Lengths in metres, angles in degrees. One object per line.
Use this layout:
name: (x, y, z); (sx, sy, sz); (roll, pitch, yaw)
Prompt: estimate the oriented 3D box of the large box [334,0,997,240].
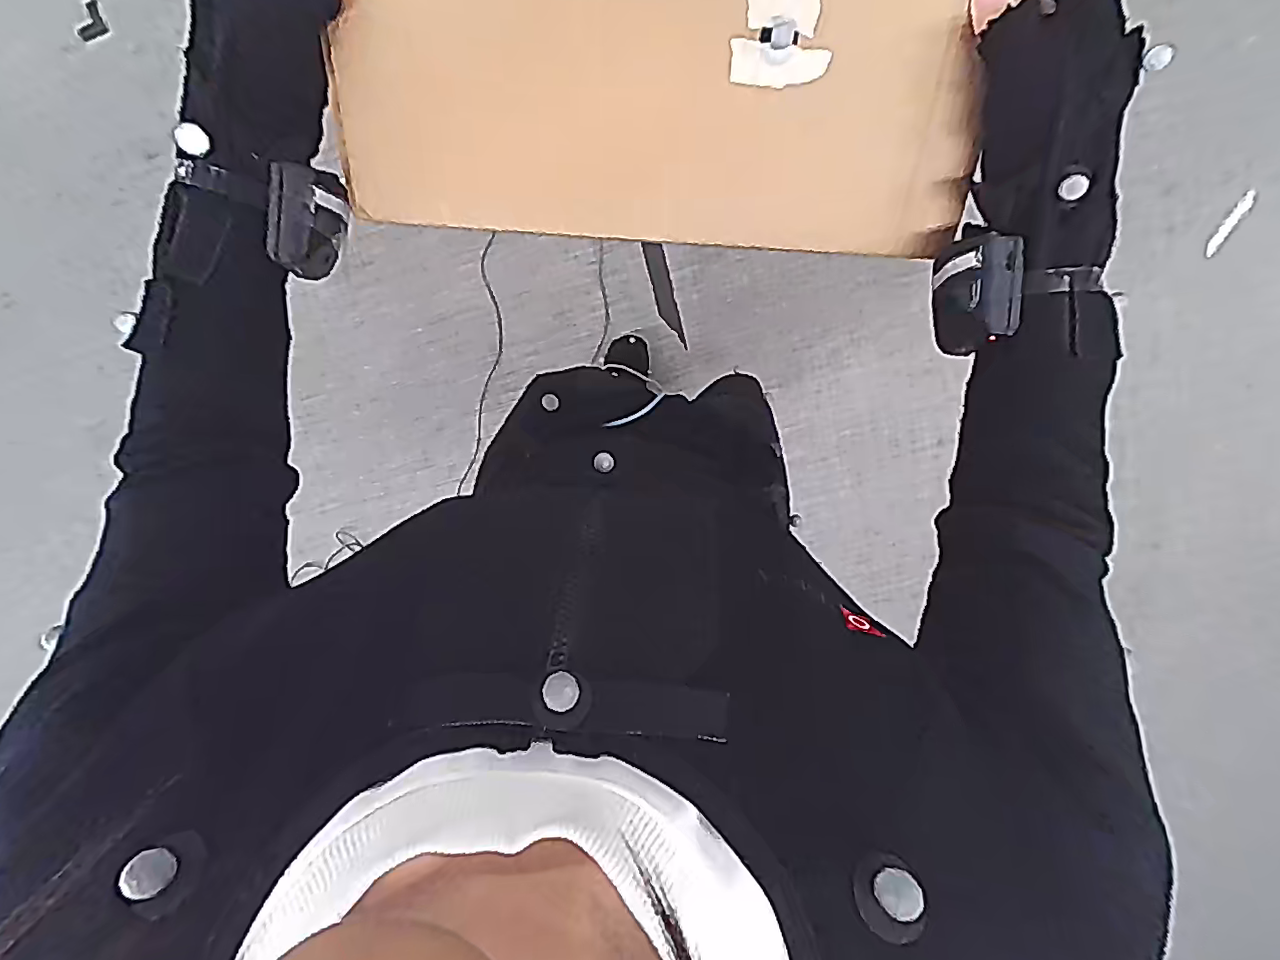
large box: (0.015, -0.379, 0.443); (0.408, 0.320, 0.320); (2, 118, -1)
